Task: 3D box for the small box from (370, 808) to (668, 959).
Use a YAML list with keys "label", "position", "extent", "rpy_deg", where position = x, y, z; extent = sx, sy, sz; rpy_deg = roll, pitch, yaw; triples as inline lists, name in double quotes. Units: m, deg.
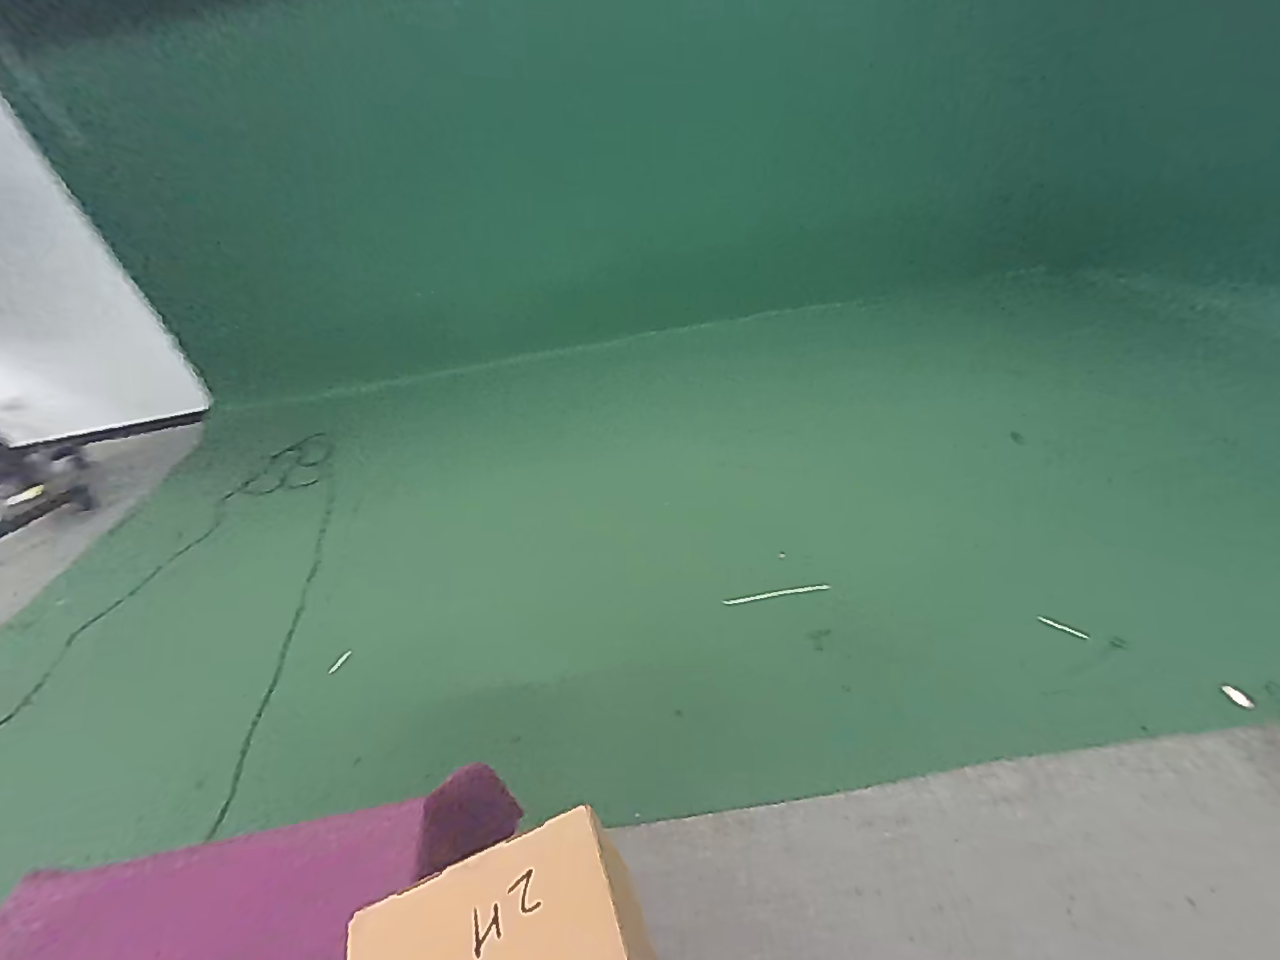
- label: "small box"
  position: [-0.059, 0.363, 0.356]
  extent: [0.168, 0.176, 0.179]
  rpy_deg: [-20, 41, -9]
